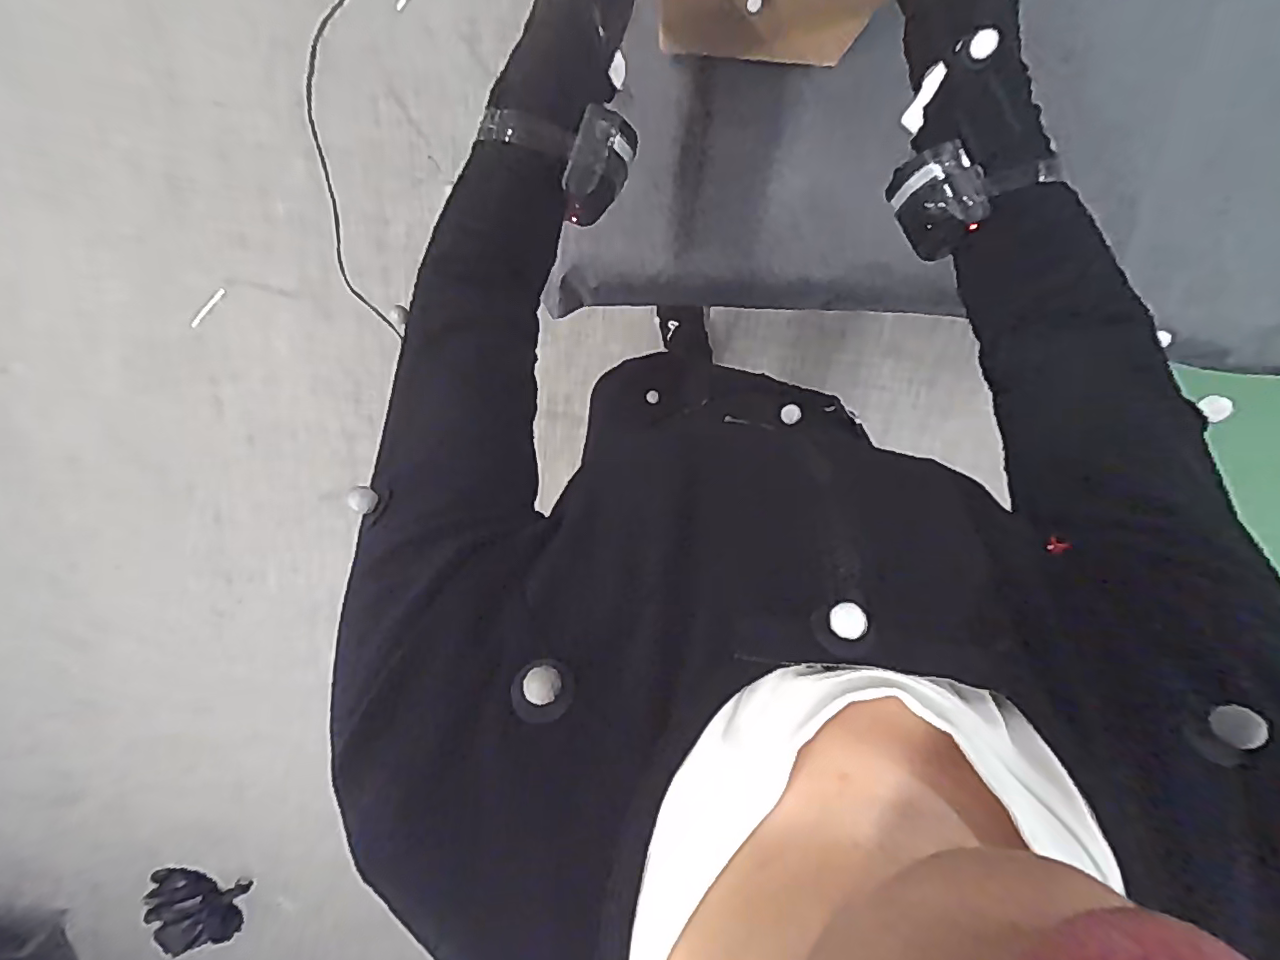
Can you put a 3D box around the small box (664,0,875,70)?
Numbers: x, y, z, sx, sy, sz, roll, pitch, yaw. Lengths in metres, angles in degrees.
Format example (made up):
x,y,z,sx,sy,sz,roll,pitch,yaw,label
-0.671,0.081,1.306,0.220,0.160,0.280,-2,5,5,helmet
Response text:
x,y,z,sx,sy,sz,roll,pitch,yaw,label
0.113,-0.464,0.438,0.179,0.176,0.168,5,108,0,small box
